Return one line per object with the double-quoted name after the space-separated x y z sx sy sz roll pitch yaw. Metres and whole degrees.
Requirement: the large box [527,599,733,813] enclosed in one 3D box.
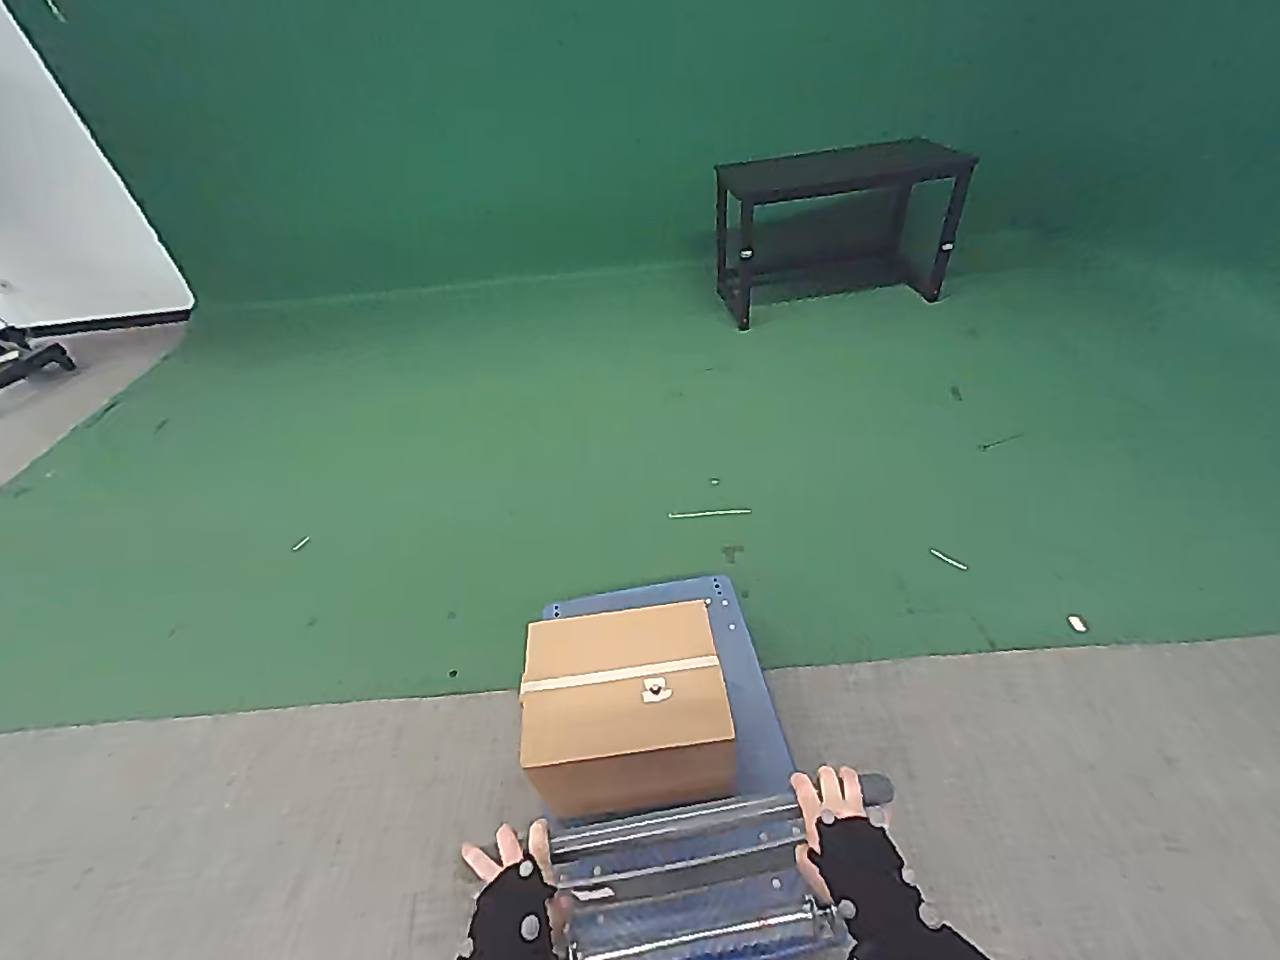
-0.025 0.513 1.231 0.408 0.320 0.320 -7 42 -1 "large box"
